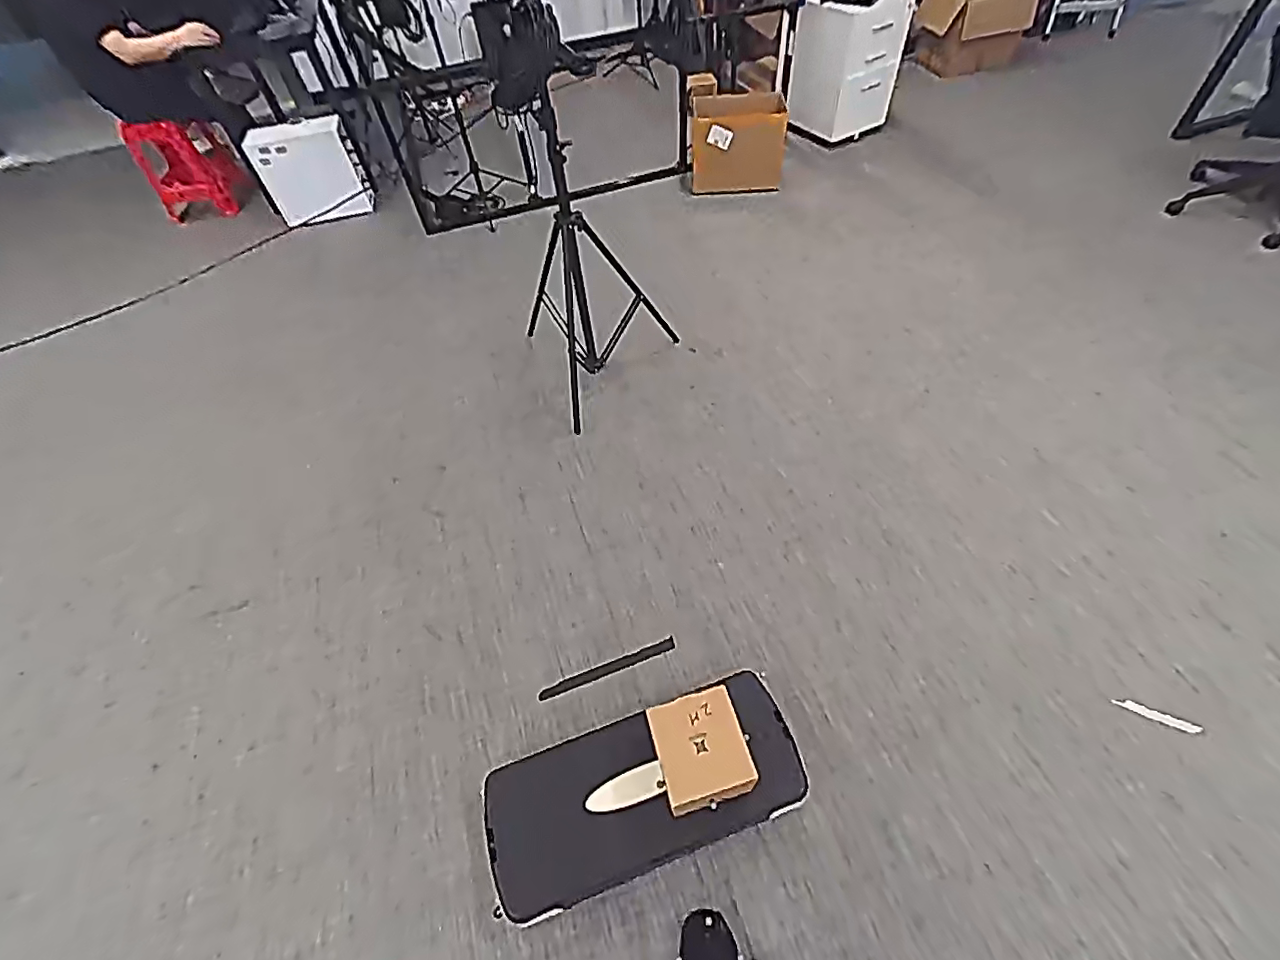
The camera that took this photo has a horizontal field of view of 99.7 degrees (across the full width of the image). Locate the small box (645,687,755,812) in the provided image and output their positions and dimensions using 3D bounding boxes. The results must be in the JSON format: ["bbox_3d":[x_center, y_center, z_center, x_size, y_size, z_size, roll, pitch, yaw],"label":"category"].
[{"bbox_3d":[0.116,0.541,1.075,0.168,0.176,0.179,-15,53,-6],"label":"small box"}]
